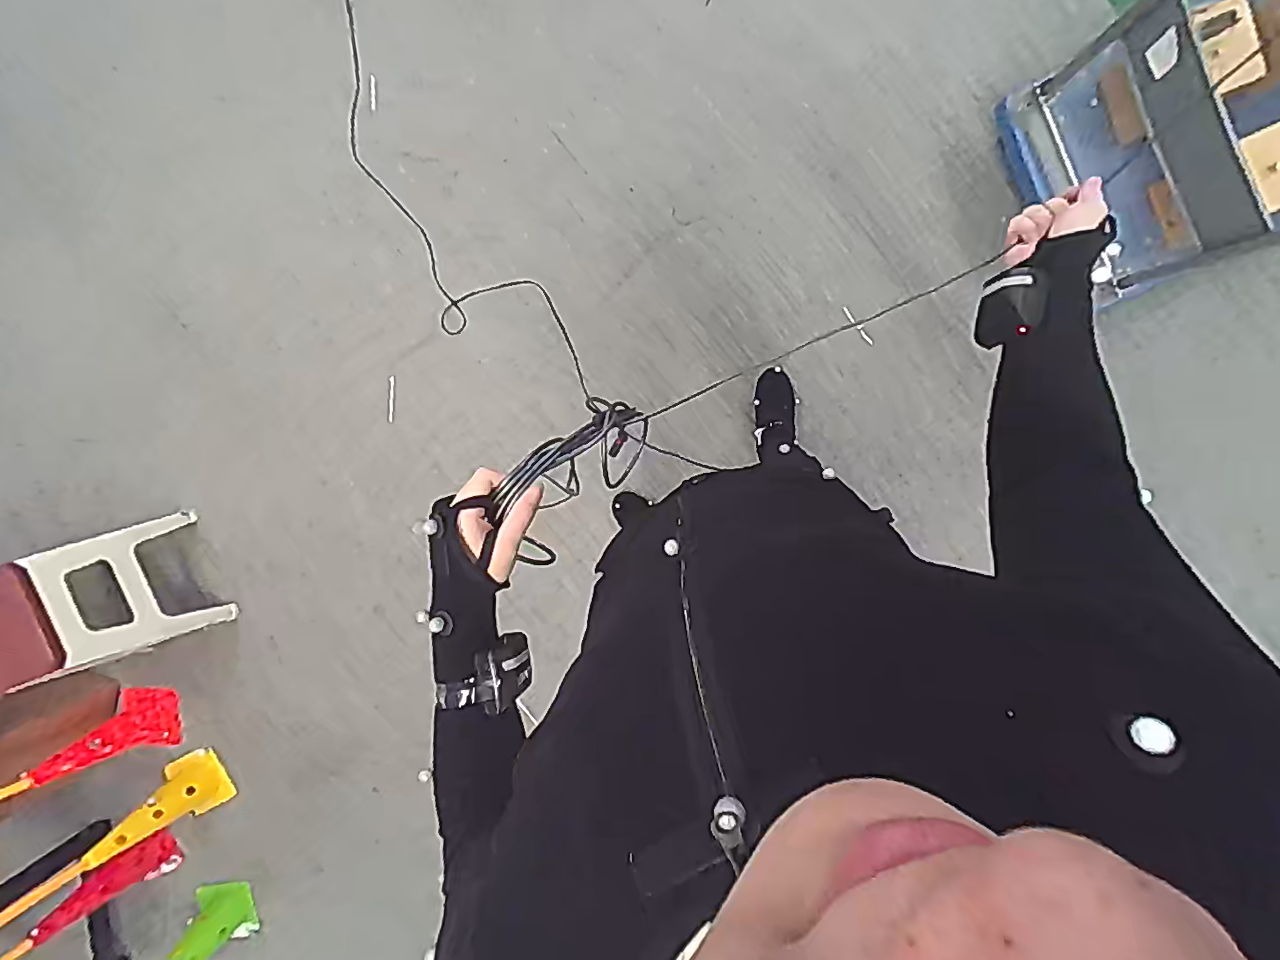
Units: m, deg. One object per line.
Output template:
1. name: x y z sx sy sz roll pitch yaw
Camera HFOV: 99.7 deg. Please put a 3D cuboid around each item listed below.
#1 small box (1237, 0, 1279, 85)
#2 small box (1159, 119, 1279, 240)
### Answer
1. small box: 1.444 -0.997 1.145 0.179 0.176 0.168 -29 94 7
2. small box: 1.324 -0.665 1.193 0.179 0.176 0.168 -24 94 7
